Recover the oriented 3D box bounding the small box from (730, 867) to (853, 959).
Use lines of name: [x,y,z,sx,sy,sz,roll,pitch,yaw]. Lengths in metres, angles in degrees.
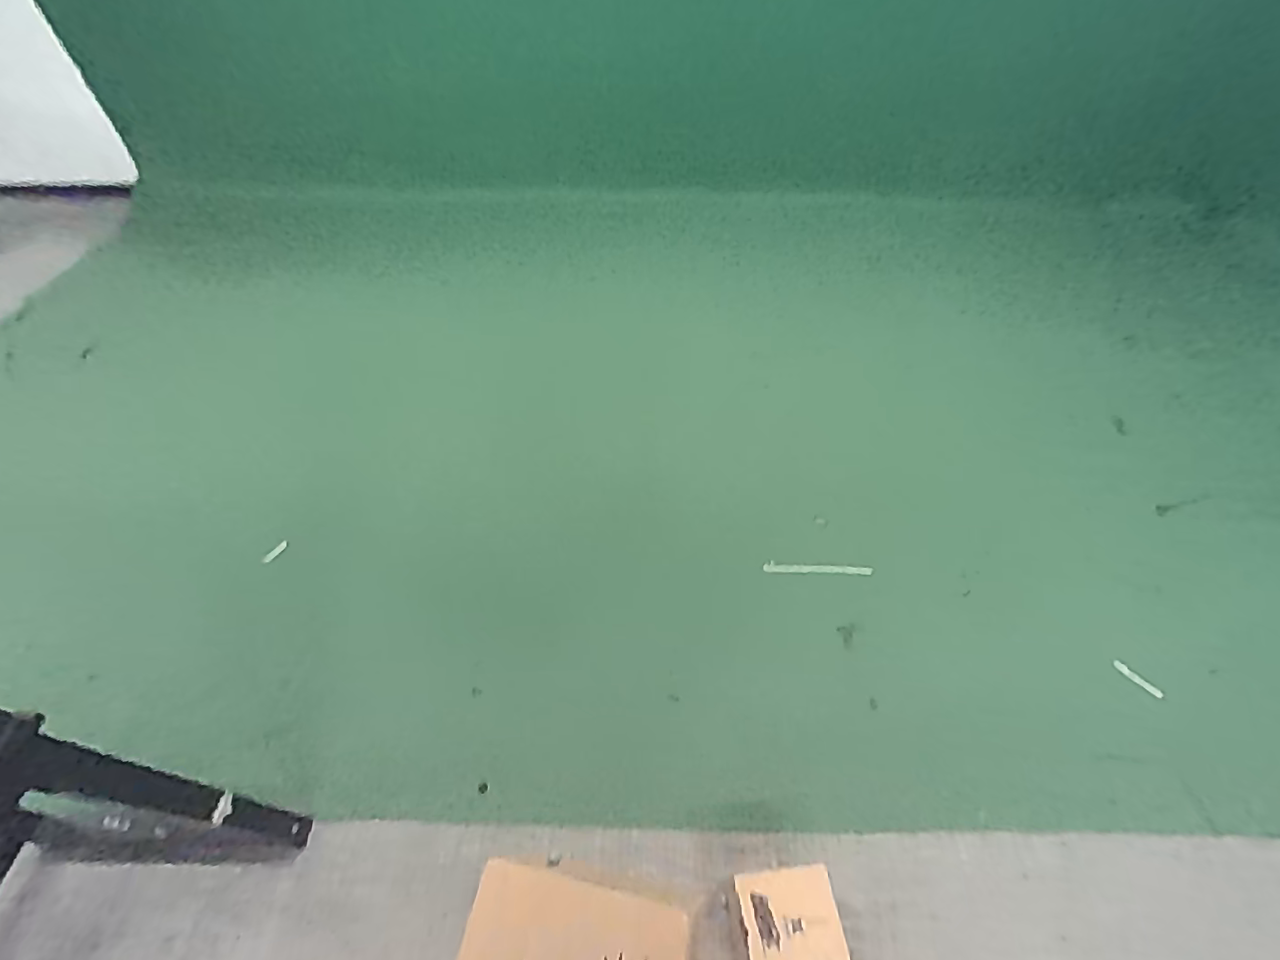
small box: [0.269,0.832,0.998,0.179,0.176,0.168,-5,51,-5]
